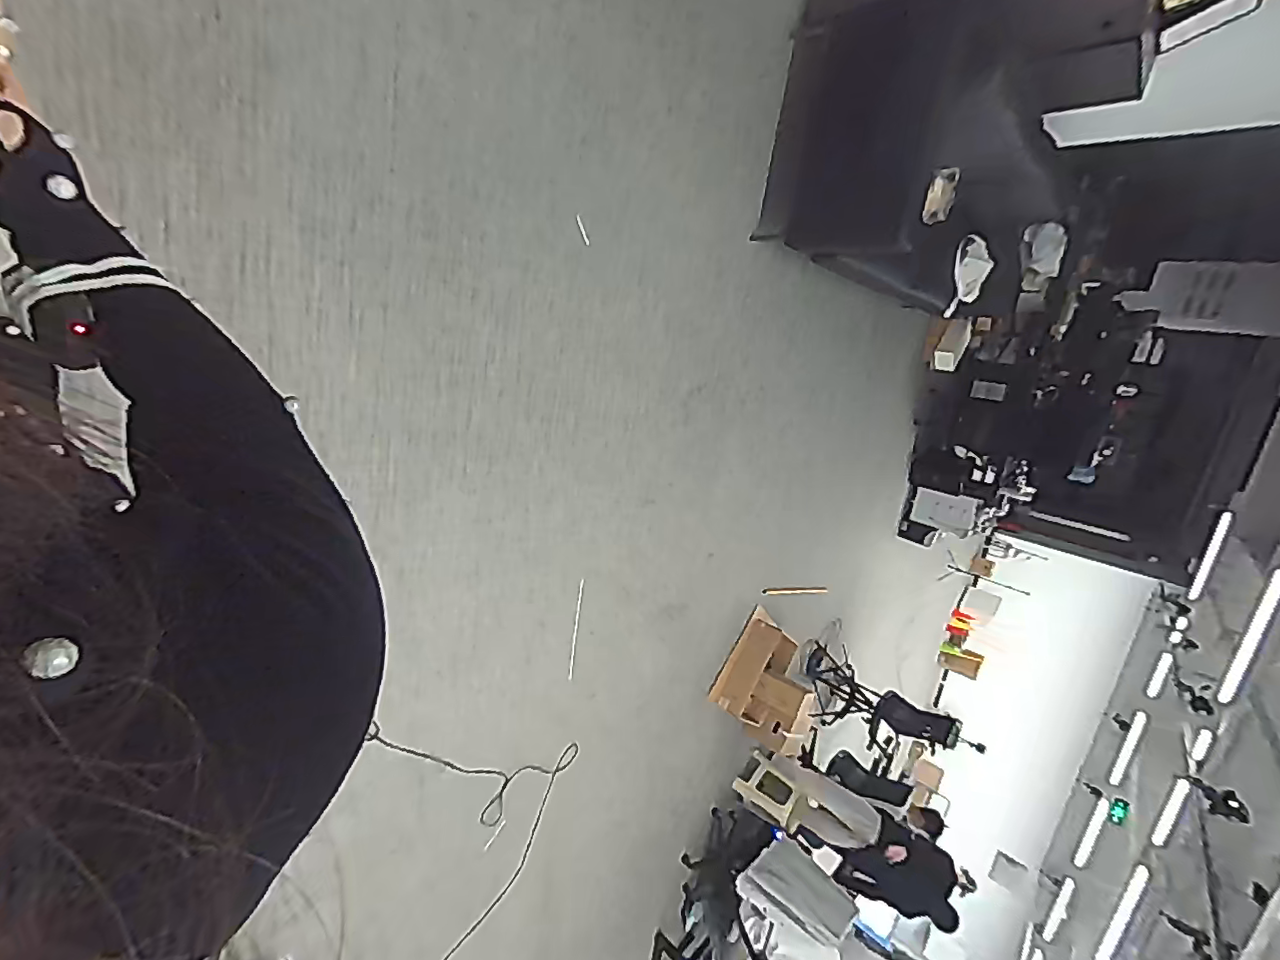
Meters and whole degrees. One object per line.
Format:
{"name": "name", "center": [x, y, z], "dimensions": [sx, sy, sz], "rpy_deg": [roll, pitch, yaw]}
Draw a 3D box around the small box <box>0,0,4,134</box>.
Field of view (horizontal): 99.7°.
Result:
{"name": "small box", "center": [-0.604, -0.381, 0.400], "dimensions": [0.168, 0.176, 0.179], "rpy_deg": [0, 107, -48]}
